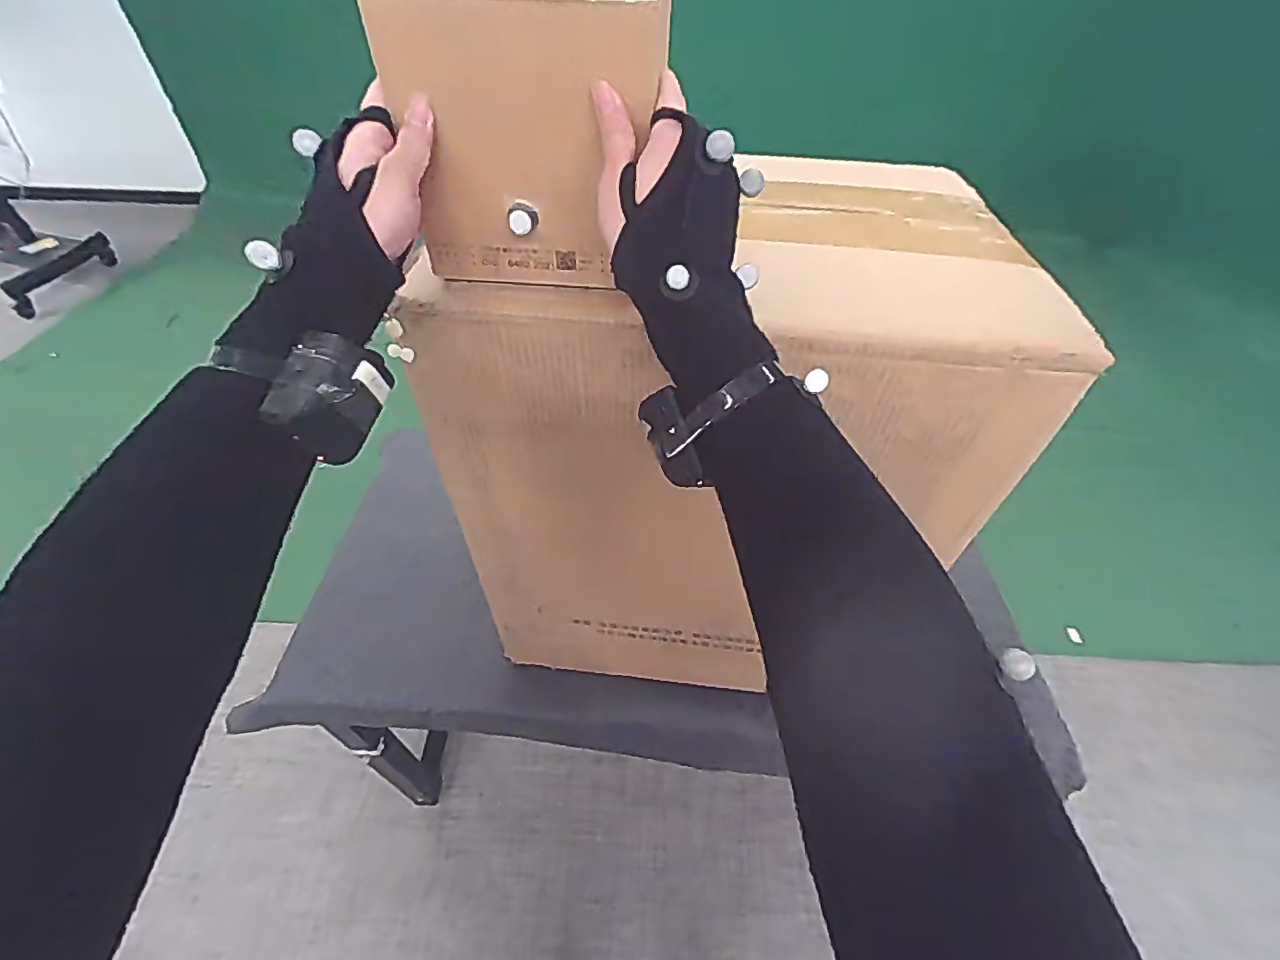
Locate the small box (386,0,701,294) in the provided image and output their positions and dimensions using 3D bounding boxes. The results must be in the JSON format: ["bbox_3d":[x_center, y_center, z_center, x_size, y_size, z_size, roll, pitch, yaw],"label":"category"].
[{"bbox_3d":[-0.050,-0.260,0.390,0.168,0.176,0.179,6,50,4],"label":"small box"}]
